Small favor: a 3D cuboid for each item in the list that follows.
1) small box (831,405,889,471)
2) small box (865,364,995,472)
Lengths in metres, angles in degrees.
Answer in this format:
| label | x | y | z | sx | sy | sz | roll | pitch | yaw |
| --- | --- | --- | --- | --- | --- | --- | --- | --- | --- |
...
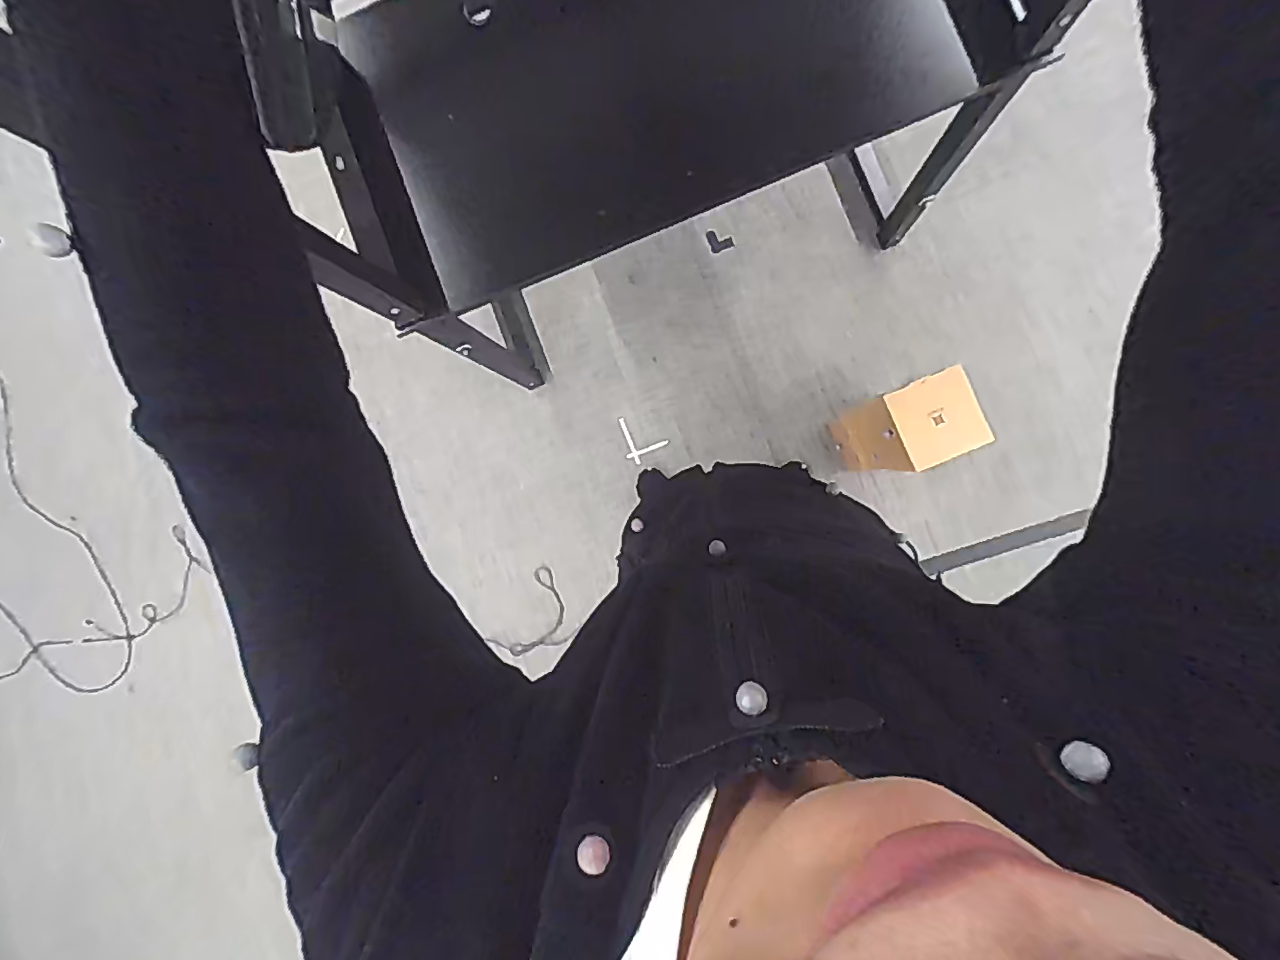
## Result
| label | x | y | z | sx | sy | sz | roll | pitch | yaw |
| --- | --- | --- | --- | --- | --- | --- | --- | --- | --- |
| small box | 0.656 | -0.132 | 1.501 | 0.179 | 0.176 | 0.168 | -23 | 87 | 7 |
| small box | 0.619 | -0.128 | 1.176 | 0.168 | 0.176 | 0.179 | -24 | 87 | 7 |
